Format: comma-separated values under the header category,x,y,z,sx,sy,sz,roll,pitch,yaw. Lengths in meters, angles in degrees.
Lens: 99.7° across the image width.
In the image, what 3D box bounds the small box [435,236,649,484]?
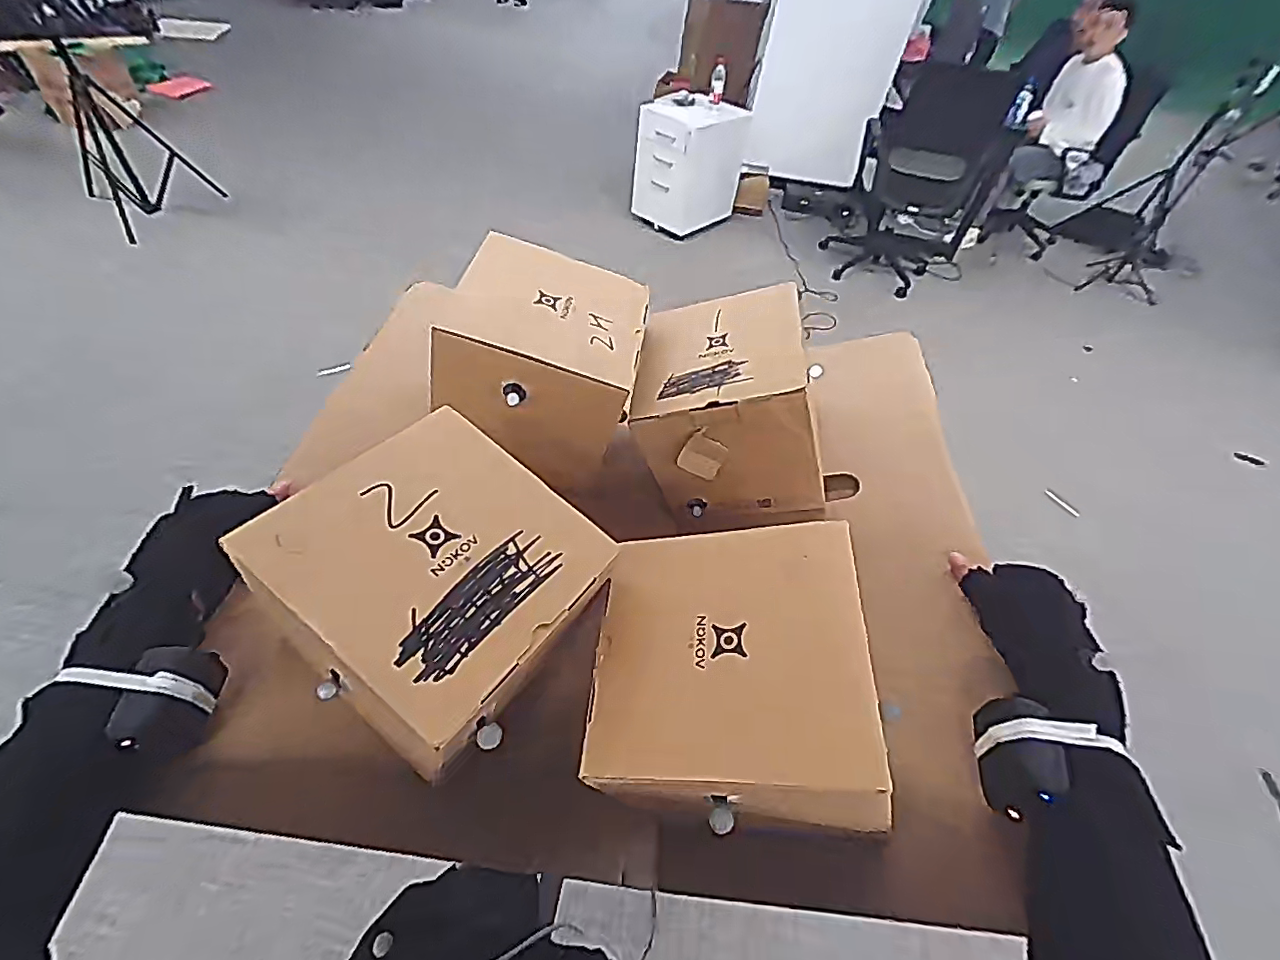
category,x,y,z,sx,sy,sz,roll,pitch,yaw
small box,-0.106,-0.119,0.579,0.179,0.176,0.168,17,51,-9

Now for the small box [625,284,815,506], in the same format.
category,x,y,z,sx,sy,sz,roll,pitch,yaw
small box,0.100,-0.083,0.602,0.168,0.176,0.179,-5,47,20
